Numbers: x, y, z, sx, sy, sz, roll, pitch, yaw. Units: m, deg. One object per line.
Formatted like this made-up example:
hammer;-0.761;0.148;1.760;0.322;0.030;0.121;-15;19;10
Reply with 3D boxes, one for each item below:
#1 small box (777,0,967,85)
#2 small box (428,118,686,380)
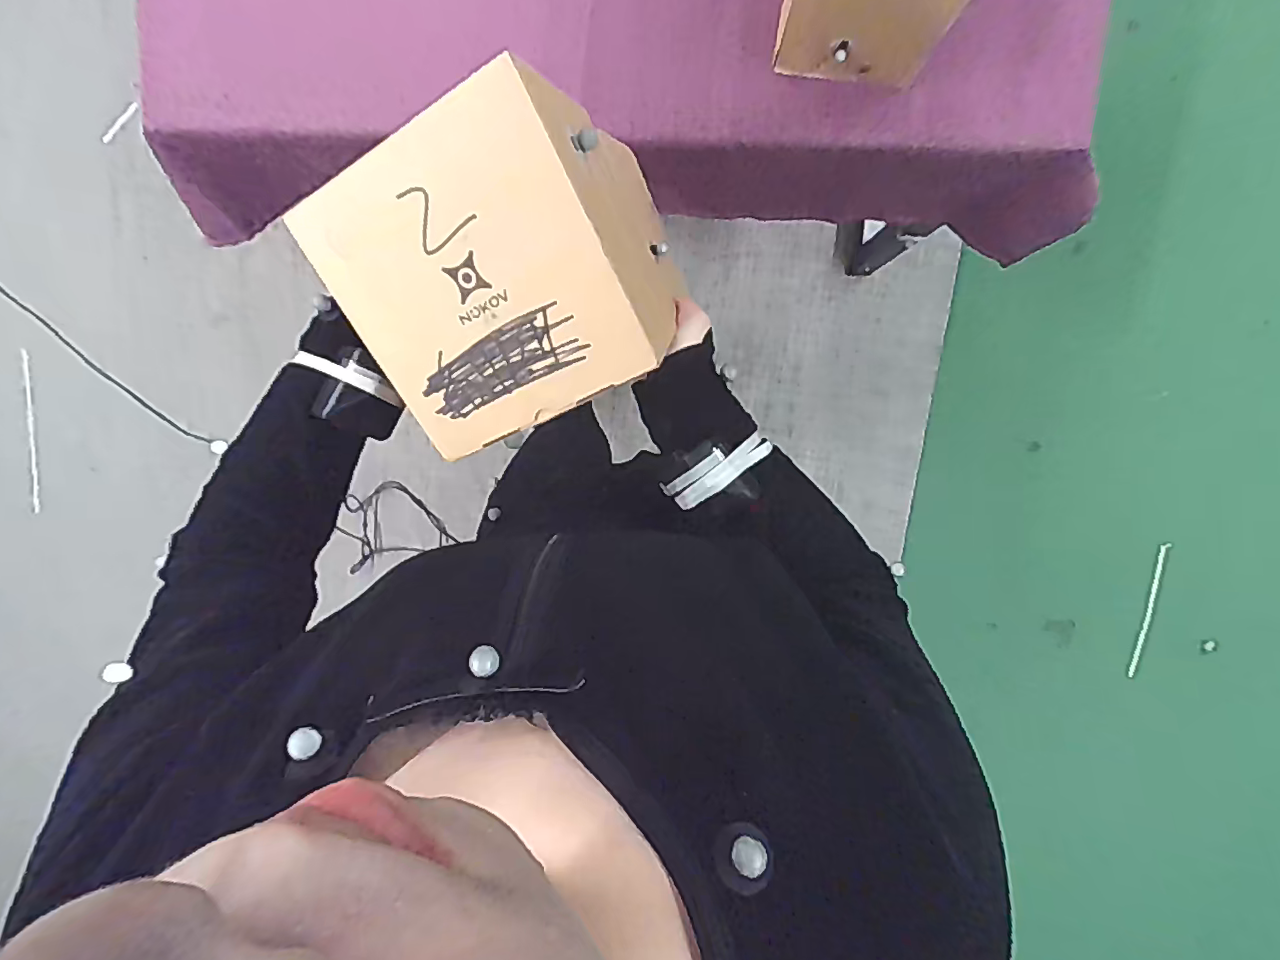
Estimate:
small box;0.251;-0.567;0.569;0.168;0.176;0.179;9;99;3
small box;-0.066;-0.224;0.545;0.179;0.176;0.168;-18;112;18
